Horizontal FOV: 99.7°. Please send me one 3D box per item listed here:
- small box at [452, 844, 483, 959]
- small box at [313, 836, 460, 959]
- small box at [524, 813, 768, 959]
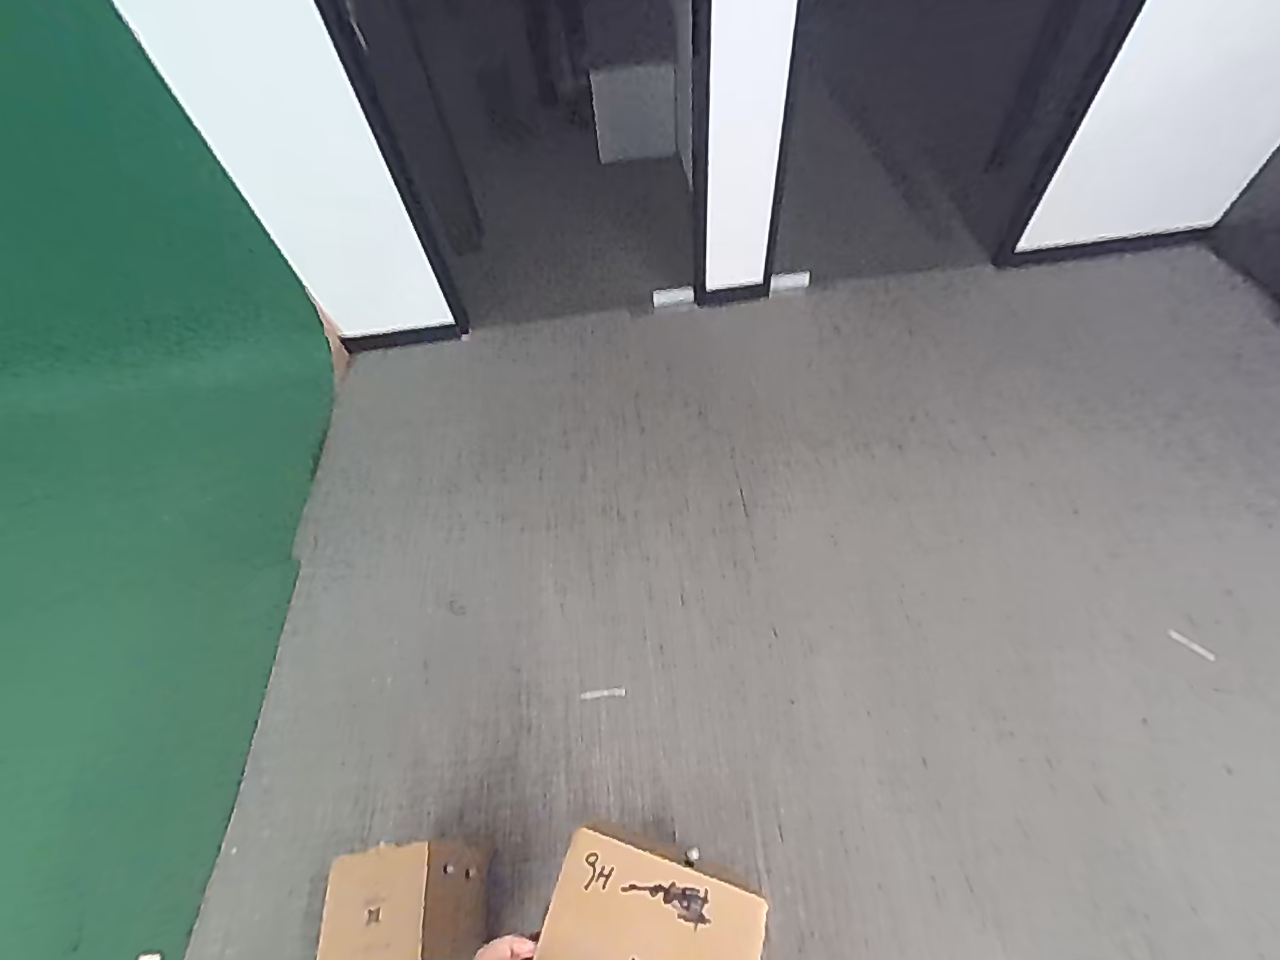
[{"bbox_3d":[-0.406,0.820,1.035,0.168,0.176,0.179,-10,54,-3],"label":"small box"},{"bbox_3d":[-0.412,0.720,0.907,0.168,0.176,0.179,-10,54,-1],"label":"small box"},{"bbox_3d":[-0.003,0.408,0.458,0.168,0.176,0.179,16,61,11],"label":"small box"}]
